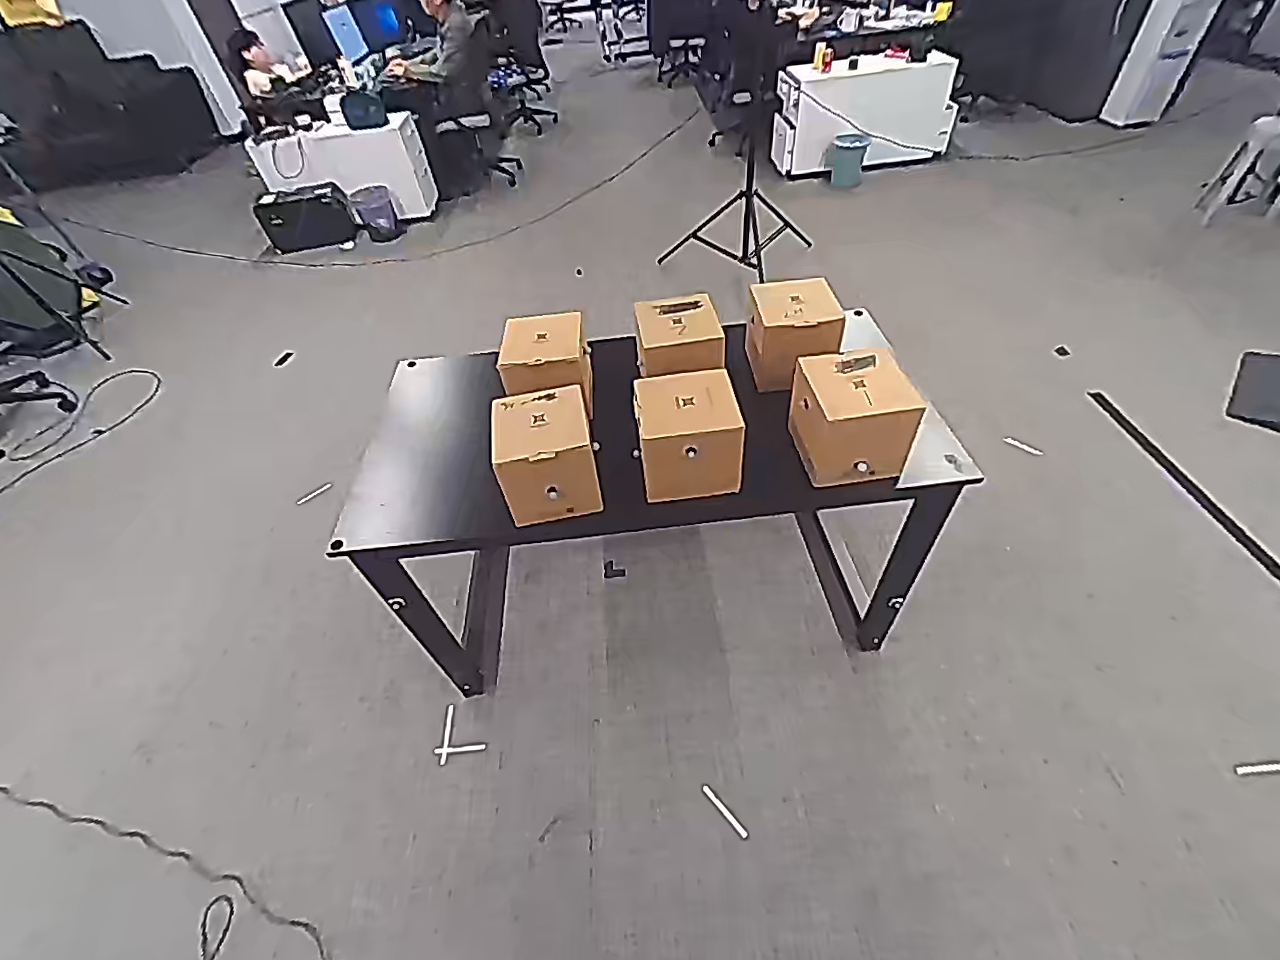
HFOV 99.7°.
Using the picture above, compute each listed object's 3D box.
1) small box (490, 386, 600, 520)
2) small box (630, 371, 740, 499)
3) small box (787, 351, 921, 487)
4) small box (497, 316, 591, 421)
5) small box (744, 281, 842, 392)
[{"bbox_3d":[-0.173,-0.043,1.003,0.168,0.176,0.179,-11,47,-3],"label":"small box"},{"bbox_3d":[0.082,-0.079,1.008,0.179,0.176,0.168,-7,47,-1],"label":"small box"},{"bbox_3d":[0.380,-0.112,0.999,0.168,0.176,0.179,-8,47,0],"label":"small box"},{"bbox_3d":[-0.202,-0.238,1.189,0.168,0.176,0.179,-6,47,1],"label":"small box"},{"bbox_3d":[0.328,-0.317,1.198,0.168,0.176,0.179,-5,47,3],"label":"small box"}]
